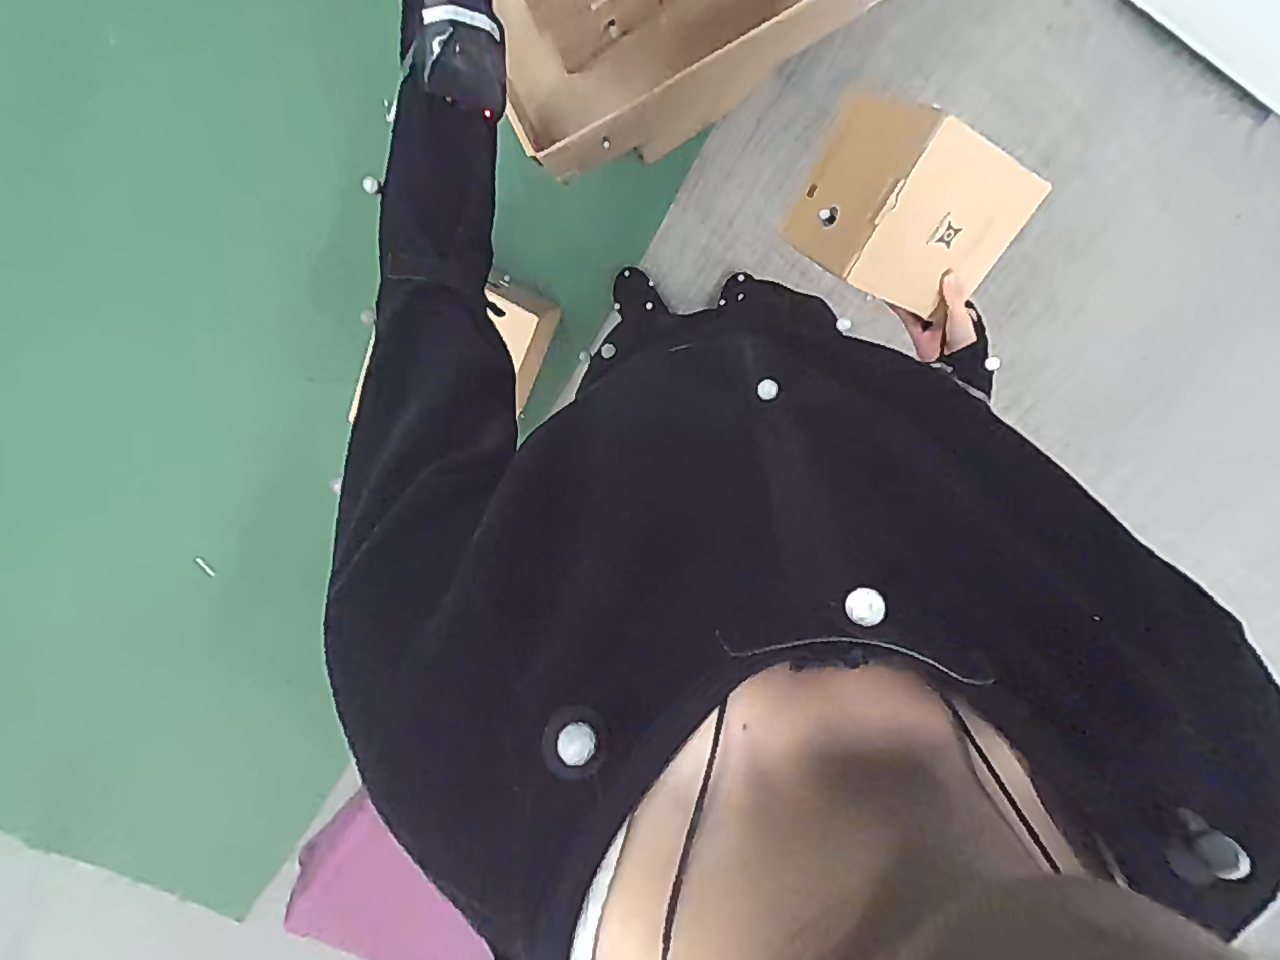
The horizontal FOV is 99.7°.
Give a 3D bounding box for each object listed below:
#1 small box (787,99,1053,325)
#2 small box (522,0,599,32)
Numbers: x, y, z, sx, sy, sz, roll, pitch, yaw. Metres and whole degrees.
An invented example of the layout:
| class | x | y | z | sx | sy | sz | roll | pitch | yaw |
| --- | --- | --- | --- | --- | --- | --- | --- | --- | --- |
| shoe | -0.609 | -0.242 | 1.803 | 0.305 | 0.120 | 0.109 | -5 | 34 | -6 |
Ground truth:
| class | x | y | z | sx | sy | sz | roll | pitch | yaw |
| --- | --- | --- | --- | --- | --- | --- | --- | --- | --- |
| small box | 0.303 | -0.311 | 0.625 | 0.179 | 0.176 | 0.168 | 12 | 125 | -26 |
| small box | -0.091 | -0.660 | 0.599 | 0.179 | 0.176 | 0.168 | -25 | 107 | 11 |
